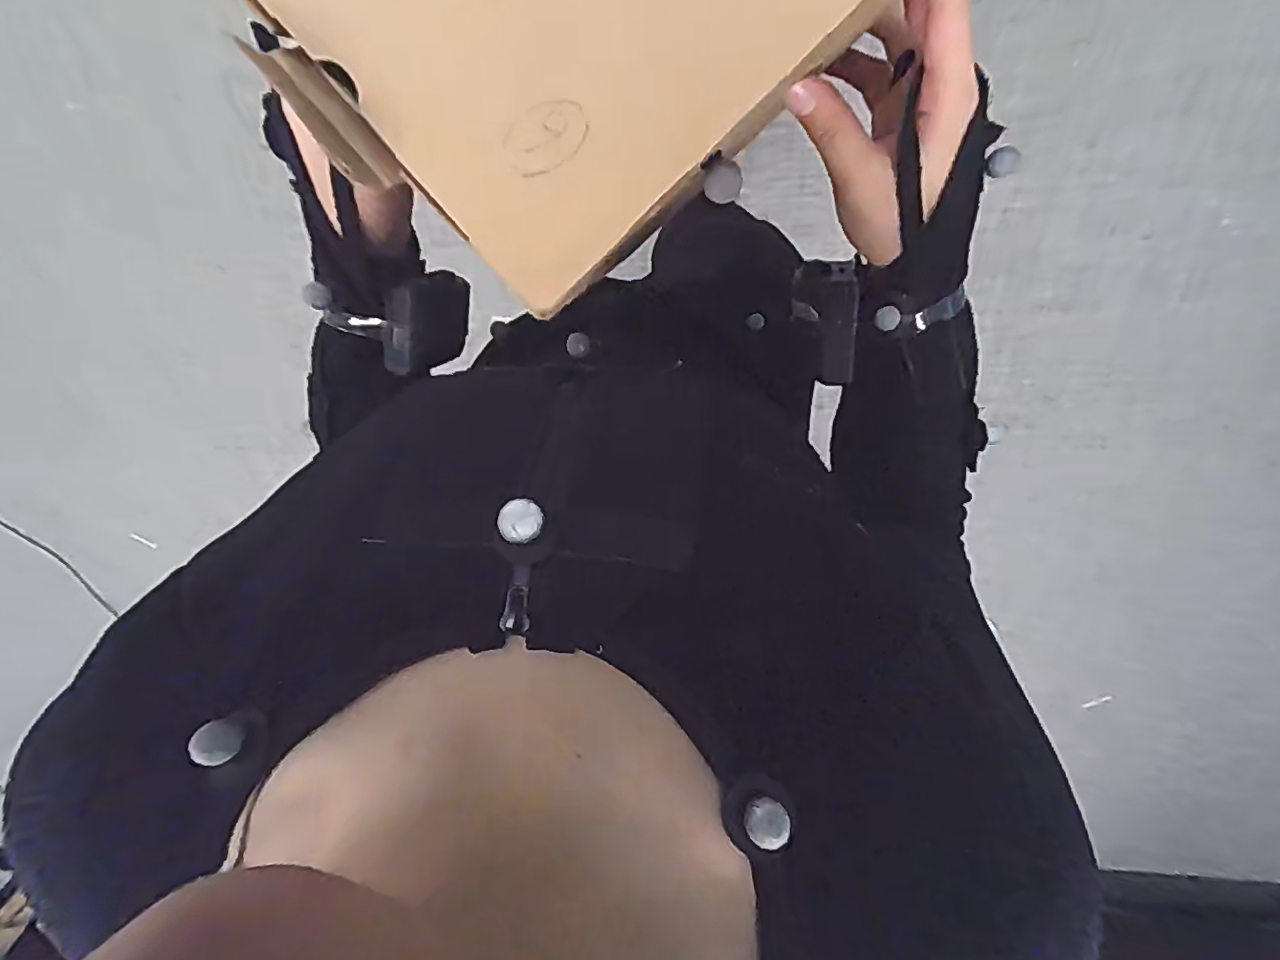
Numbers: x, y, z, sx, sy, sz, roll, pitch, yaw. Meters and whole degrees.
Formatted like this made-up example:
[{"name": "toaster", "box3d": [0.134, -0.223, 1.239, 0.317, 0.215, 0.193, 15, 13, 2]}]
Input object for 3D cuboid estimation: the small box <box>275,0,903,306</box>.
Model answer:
[{"name": "small box", "box3d": [-0.007, -0.197, 0.204, 0.179, 0.176, 0.168, -36, 108, 23]}]
